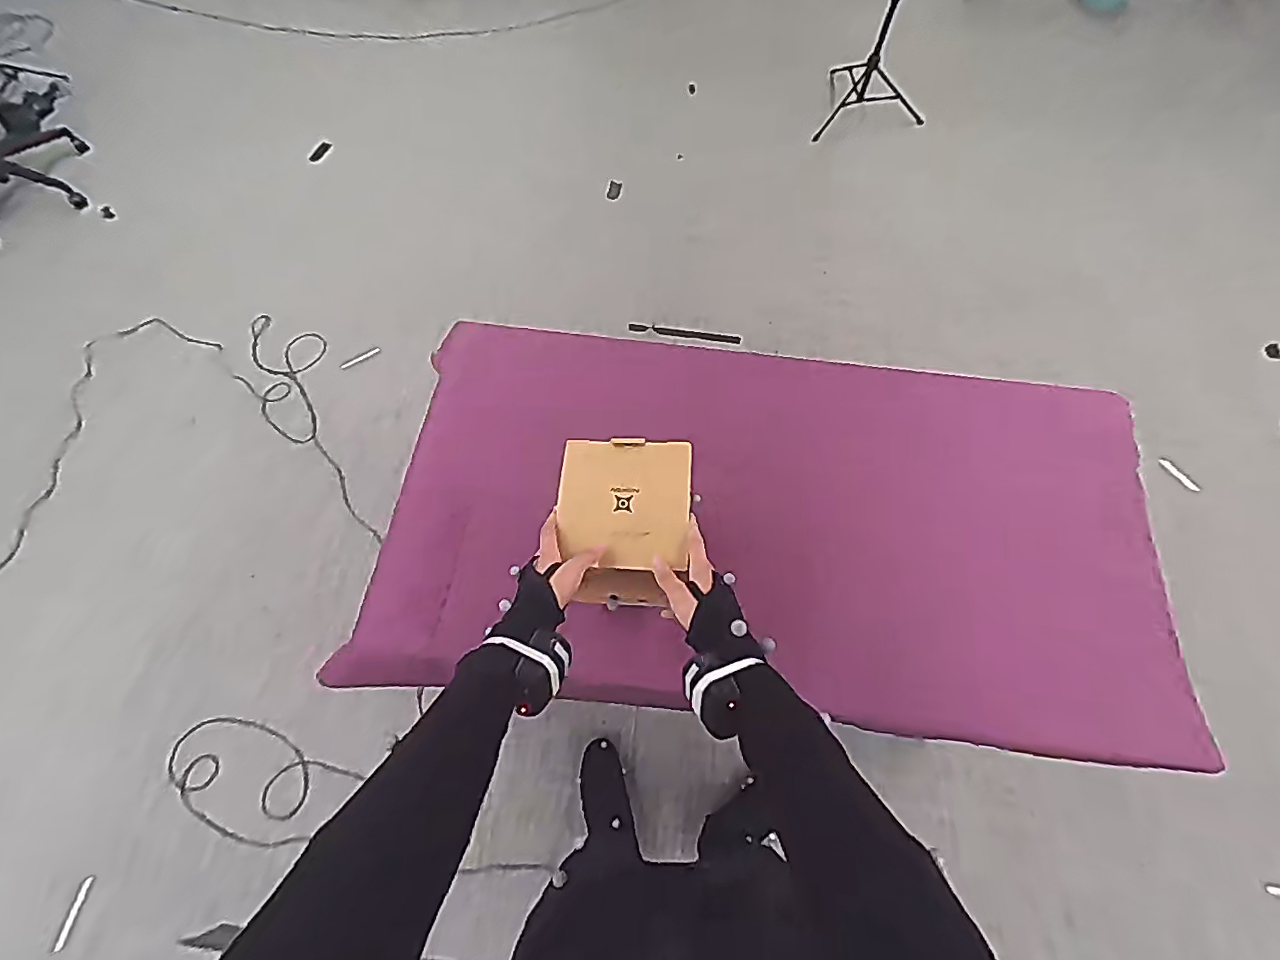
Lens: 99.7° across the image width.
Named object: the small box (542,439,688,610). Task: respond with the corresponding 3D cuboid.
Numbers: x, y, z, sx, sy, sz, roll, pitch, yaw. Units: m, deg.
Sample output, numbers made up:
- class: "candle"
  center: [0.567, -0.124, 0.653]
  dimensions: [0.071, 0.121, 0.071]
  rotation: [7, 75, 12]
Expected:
- class: "small box"
  center: [-0.023, 0.064, 0.730]
  dimensions: [0.168, 0.176, 0.179]
  rotation: [2, 63, 5]
